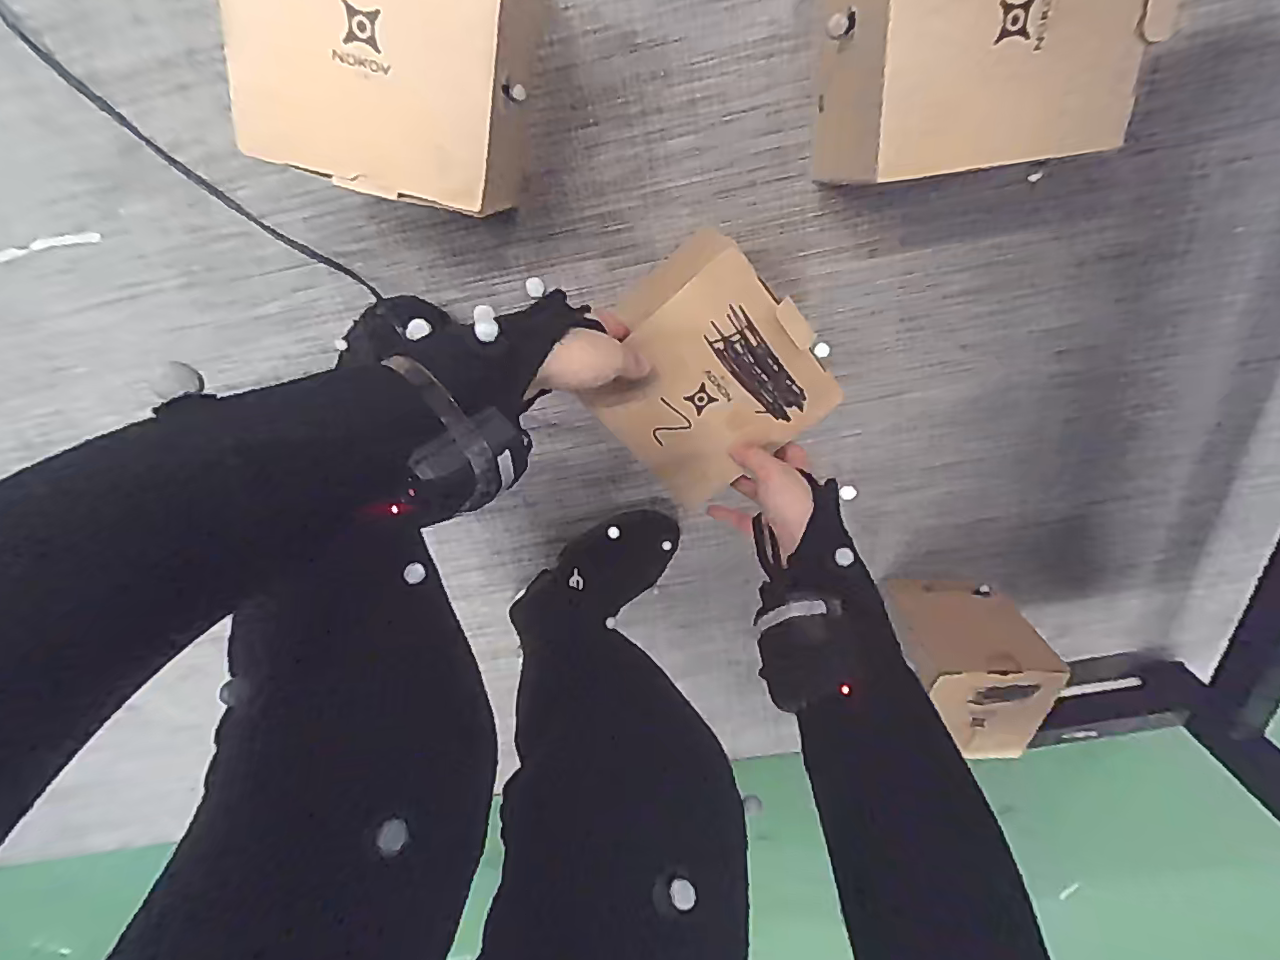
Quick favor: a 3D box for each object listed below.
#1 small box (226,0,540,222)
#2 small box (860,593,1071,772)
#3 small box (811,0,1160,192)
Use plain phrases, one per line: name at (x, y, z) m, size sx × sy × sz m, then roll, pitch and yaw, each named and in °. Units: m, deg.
small box at (-0.176, -0.313, 0.412) m, size 0.168 × 0.176 × 0.179 m, roll 11°, pitch 116°, yaw -8°
small box at (0.426, 0.272, 0.747) m, size 0.168 × 0.176 × 0.179 m, roll 1°, pitch 120°, yaw -2°
small box at (0.241, -0.325, 0.418) m, size 0.179 × 0.176 × 0.168 m, roll -7°, pitch 118°, yaw 2°
